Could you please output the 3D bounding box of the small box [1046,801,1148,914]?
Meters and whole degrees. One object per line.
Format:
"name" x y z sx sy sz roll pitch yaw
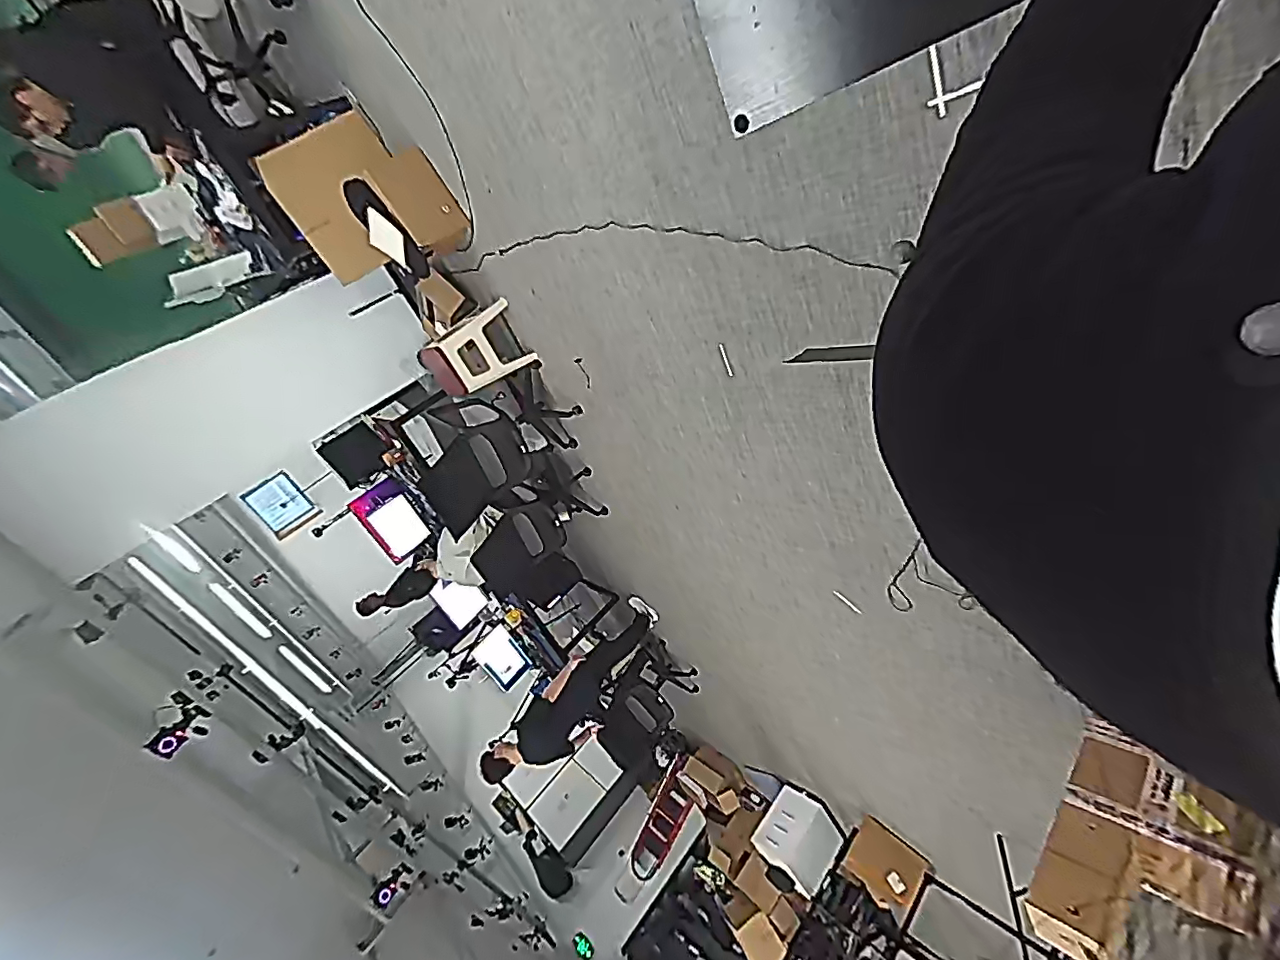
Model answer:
"small box" 1.303 1.061 1.542 0.179 0.176 0.168 2 125 56

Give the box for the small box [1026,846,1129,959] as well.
"small box" 1.188 1.148 1.461 0.179 0.176 0.168 2 125 55
